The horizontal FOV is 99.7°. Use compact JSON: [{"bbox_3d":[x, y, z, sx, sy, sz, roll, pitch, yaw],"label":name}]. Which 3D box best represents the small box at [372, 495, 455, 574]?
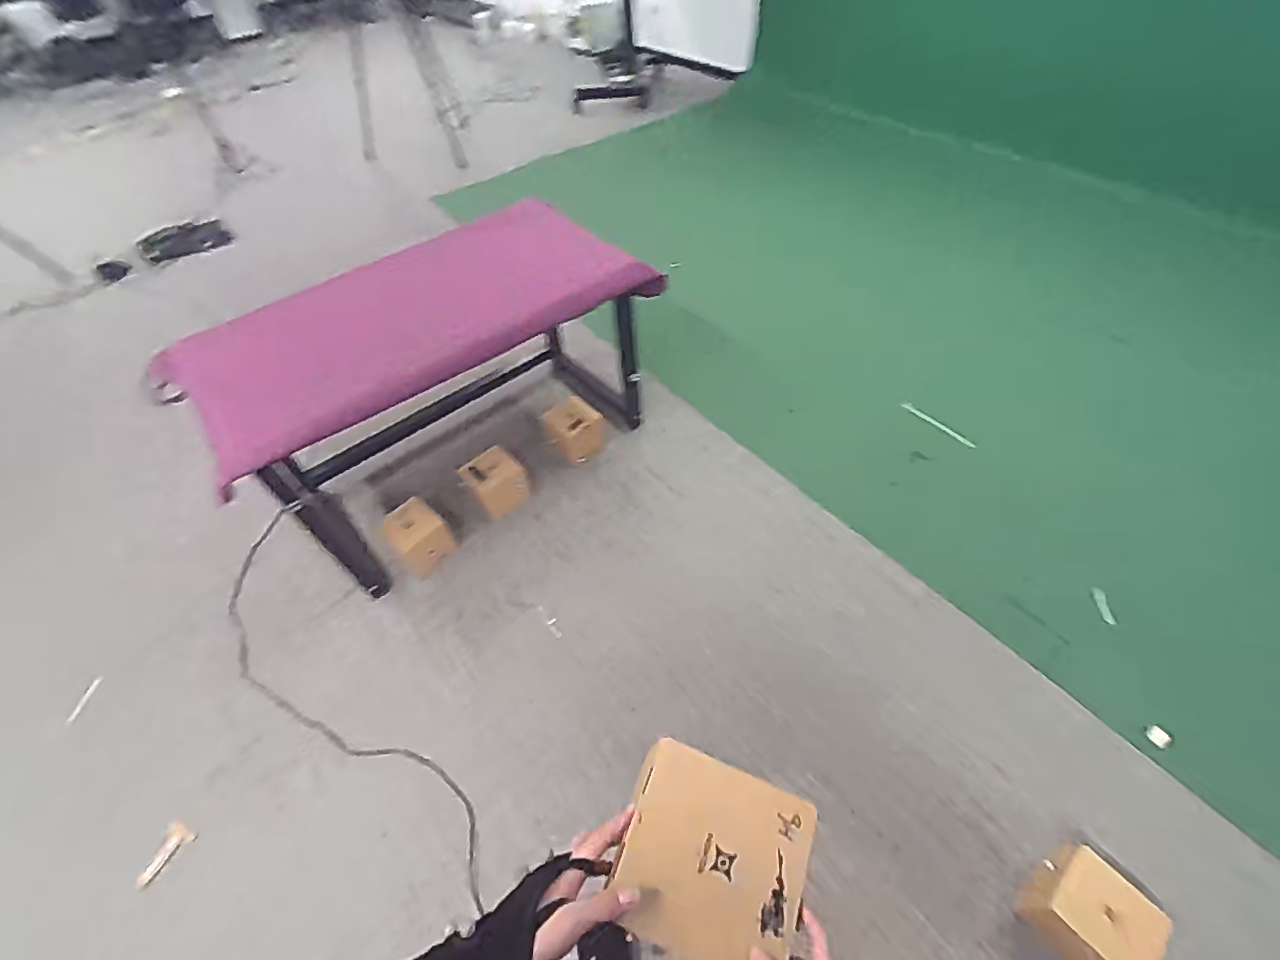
[{"bbox_3d":[-0.757,0.192,1.828,0.179,0.176,0.168,34,60,26],"label":"small box"}]

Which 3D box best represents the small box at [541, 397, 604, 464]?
[{"bbox_3d":[-0.255,-0.186,2.103,0.168,0.176,0.179,-36,57,-24],"label":"small box"}]

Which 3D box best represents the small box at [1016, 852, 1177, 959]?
[{"bbox_3d":[0.946,0.932,1.138,0.168,0.176,0.179,-34,58,-23],"label":"small box"}]
